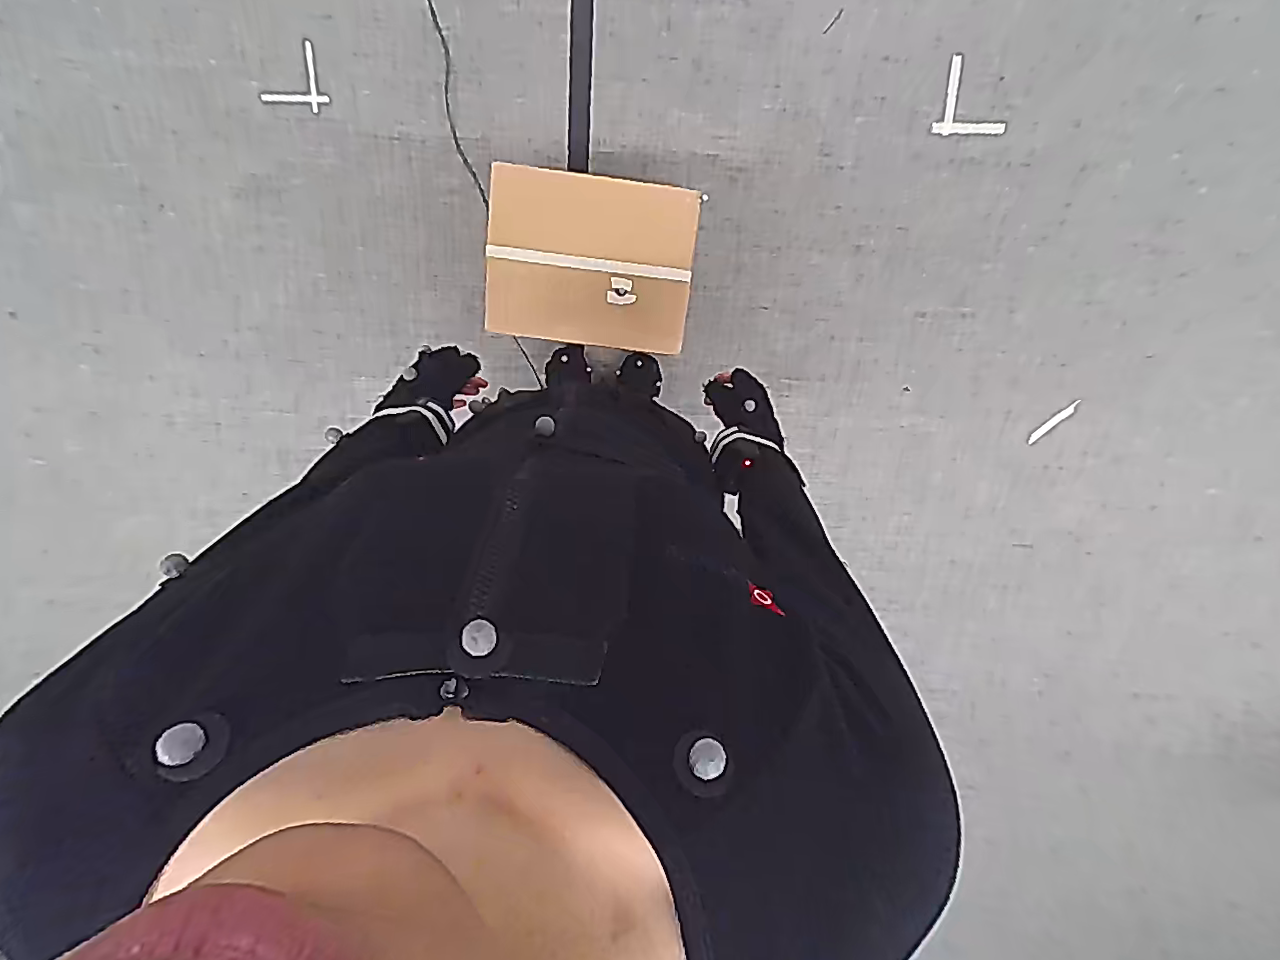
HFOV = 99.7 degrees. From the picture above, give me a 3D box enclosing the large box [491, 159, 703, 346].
[{"bbox_3d":[-0.098,-0.479,1.206,0.408,0.320,0.320,6,106,-4],"label":"large box"}]
